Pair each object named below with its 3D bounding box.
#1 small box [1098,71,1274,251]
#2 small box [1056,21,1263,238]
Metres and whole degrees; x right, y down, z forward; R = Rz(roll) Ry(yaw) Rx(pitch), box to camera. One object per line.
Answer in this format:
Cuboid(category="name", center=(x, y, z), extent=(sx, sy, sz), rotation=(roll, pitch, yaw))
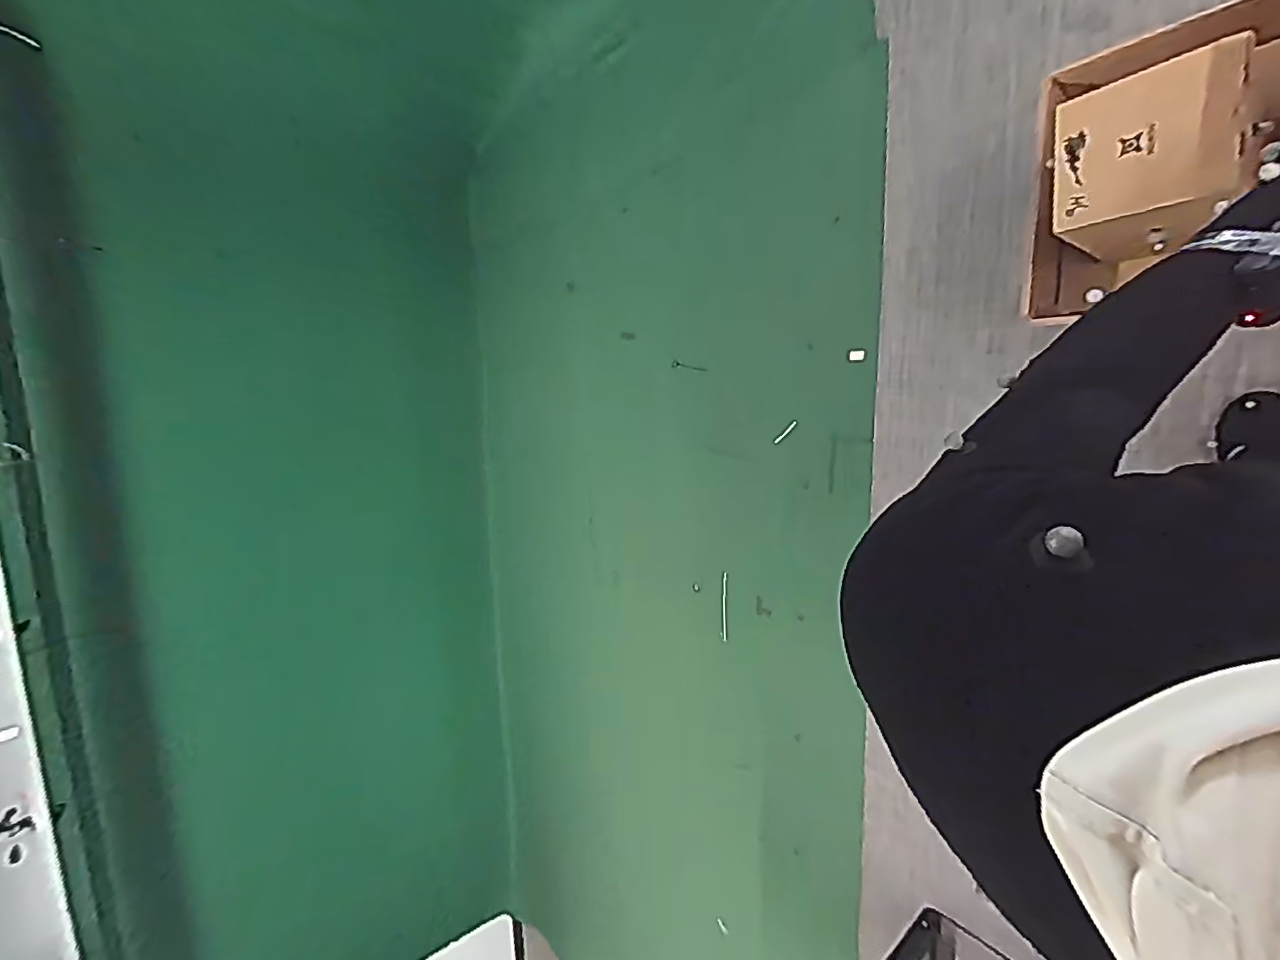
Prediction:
Cuboid(category="small box", center=(0.803, -0.454, 0.808), extent=(0.179, 0.176, 0.168), rotation=(8, 103, 50))
Cuboid(category="small box", center=(0.676, -0.434, 0.707), extent=(0.179, 0.176, 0.168), rotation=(5, 101, 50))
